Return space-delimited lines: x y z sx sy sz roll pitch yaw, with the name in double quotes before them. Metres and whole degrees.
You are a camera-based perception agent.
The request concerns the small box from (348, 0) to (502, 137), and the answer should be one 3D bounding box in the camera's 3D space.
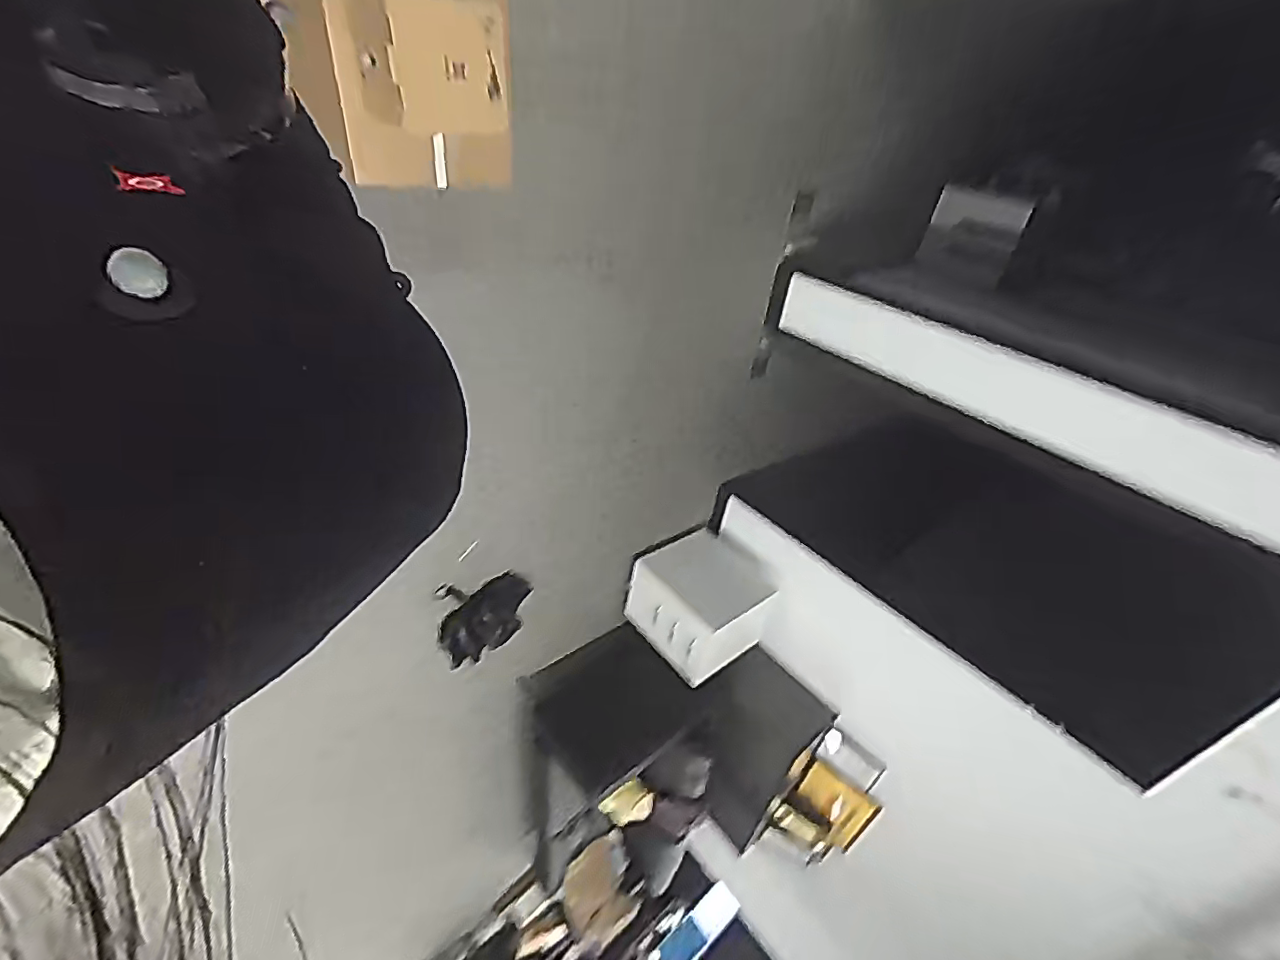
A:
"small box" -0.338 -0.651 0.851 0.179 0.176 0.168 -23 136 -33
